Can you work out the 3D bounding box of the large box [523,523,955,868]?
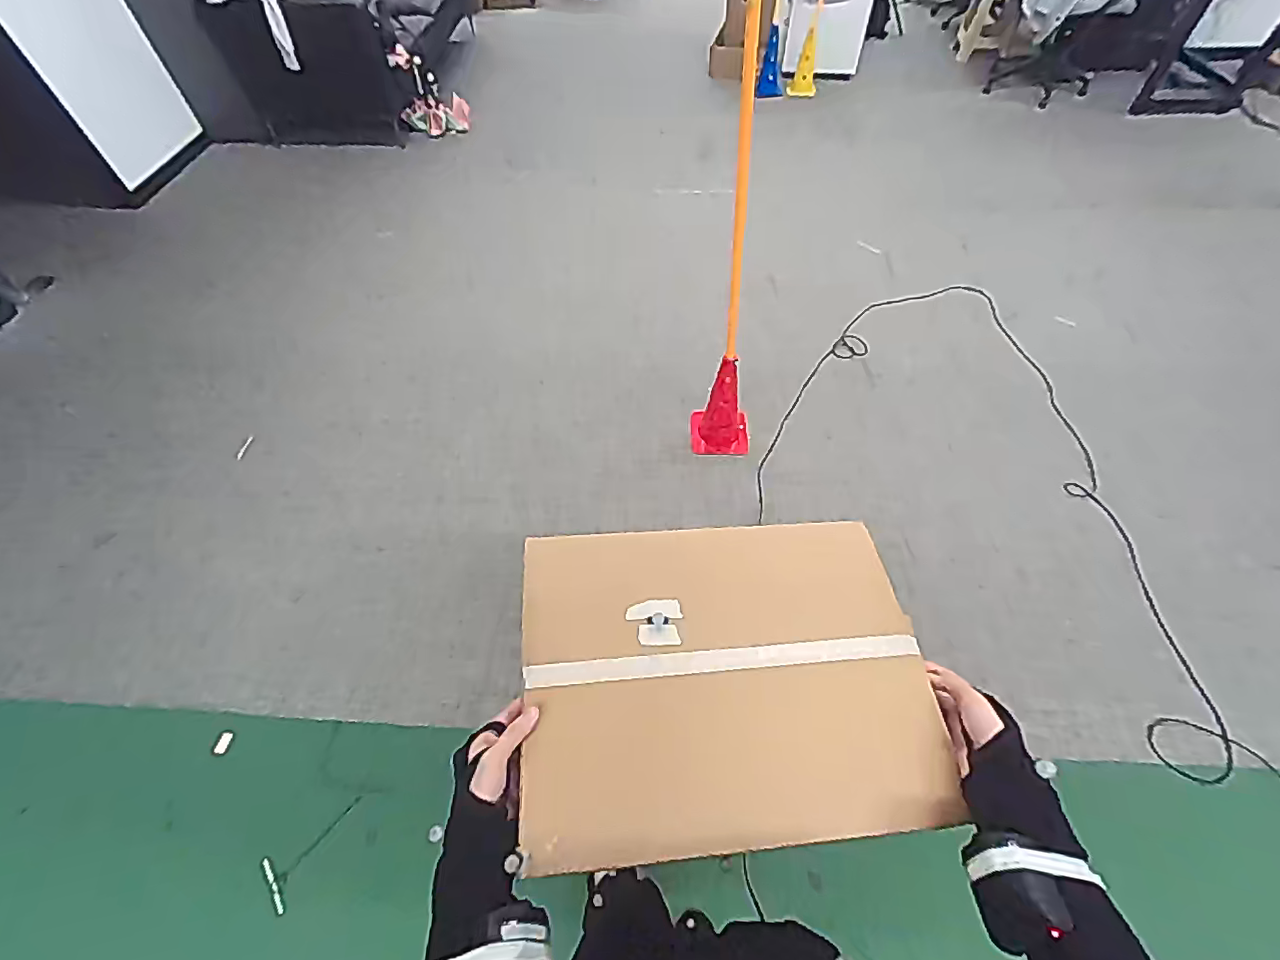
[{"bbox_3d":[0.076,0.272,0.683,0.408,0.320,0.320,-2,56,-6],"label":"large box"}]
